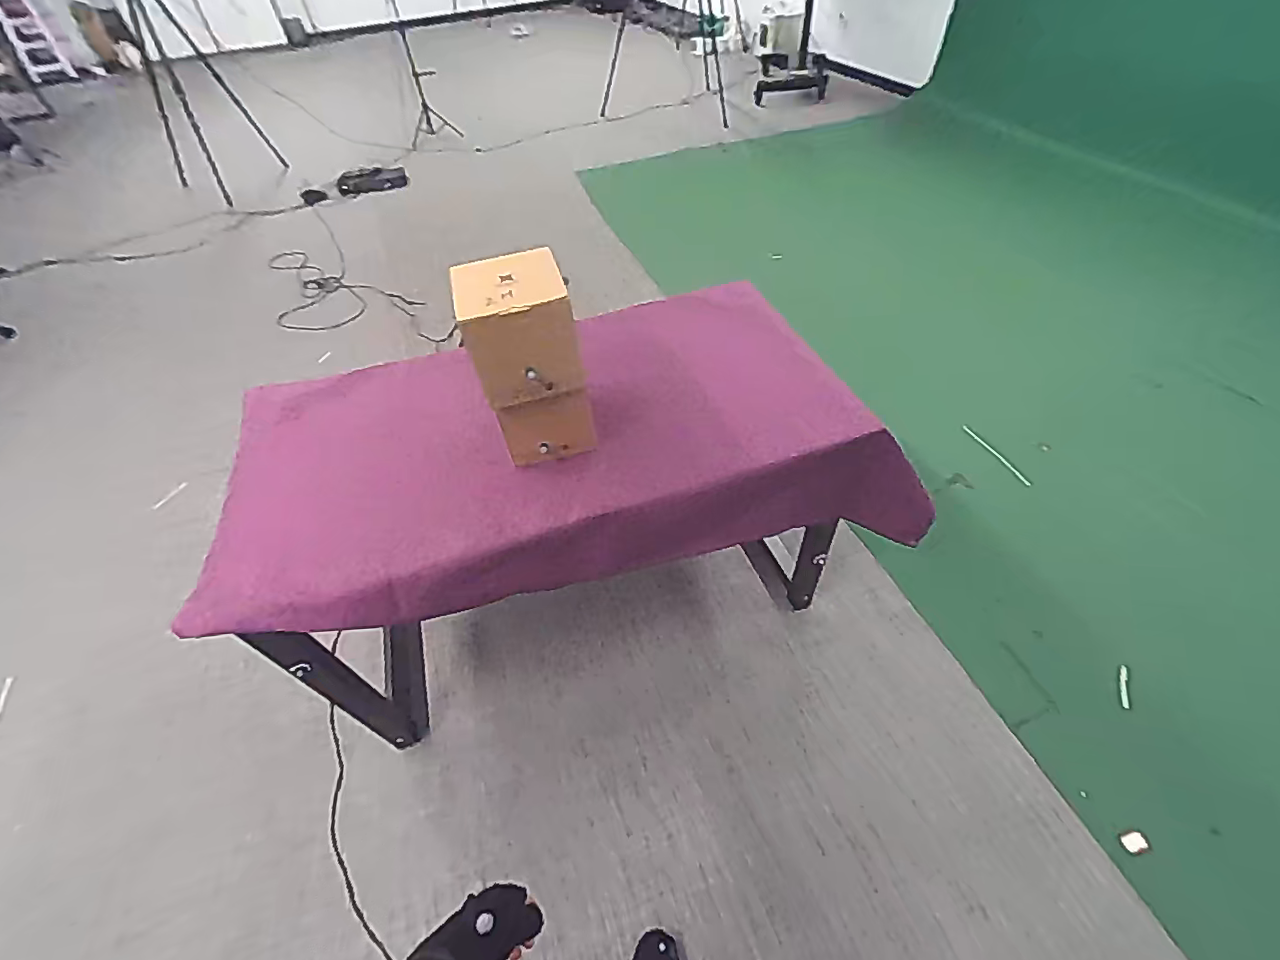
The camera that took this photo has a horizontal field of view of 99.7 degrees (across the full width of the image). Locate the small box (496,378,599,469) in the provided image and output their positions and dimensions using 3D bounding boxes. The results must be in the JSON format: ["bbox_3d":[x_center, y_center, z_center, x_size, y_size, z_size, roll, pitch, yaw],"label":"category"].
[{"bbox_3d":[-0.180,-0.149,1.029,0.168,0.176,0.179,-14,49,-7],"label":"small box"}]

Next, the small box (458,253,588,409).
[{"bbox_3d":[-0.191,-0.246,0.896,0.168,0.176,0.179,-15,49,-7],"label":"small box"}]
